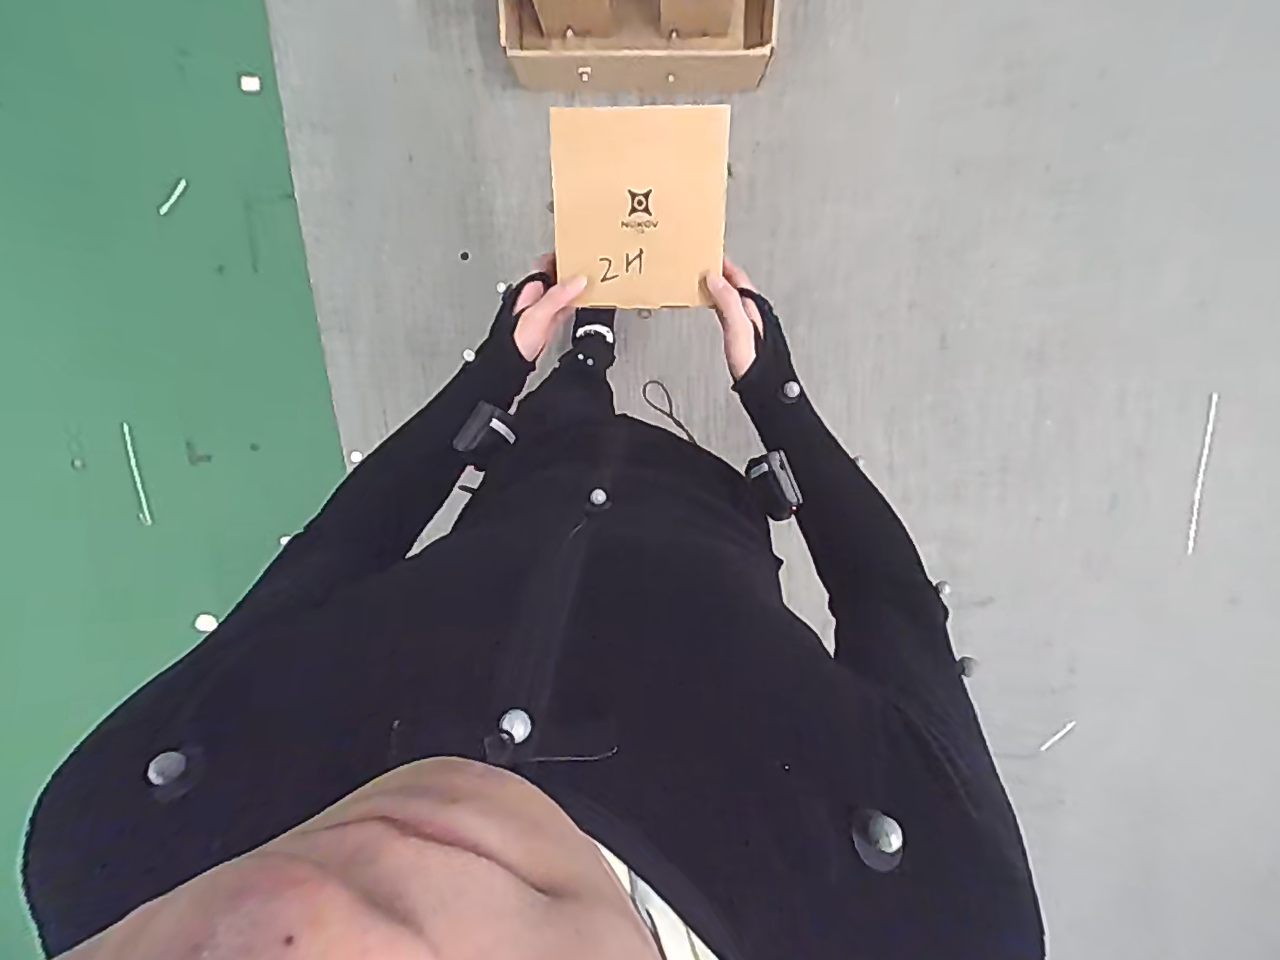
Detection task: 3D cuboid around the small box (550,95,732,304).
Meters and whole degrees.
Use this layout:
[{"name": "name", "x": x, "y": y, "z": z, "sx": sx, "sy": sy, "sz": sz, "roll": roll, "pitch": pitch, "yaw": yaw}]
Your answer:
[{"name": "small box", "x": 0.003, "y": -0.284, "z": 0.581, "sx": 0.168, "sy": 0.176, "sz": 0.179, "roll": 2, "pitch": 110, "yaw": 4}]
